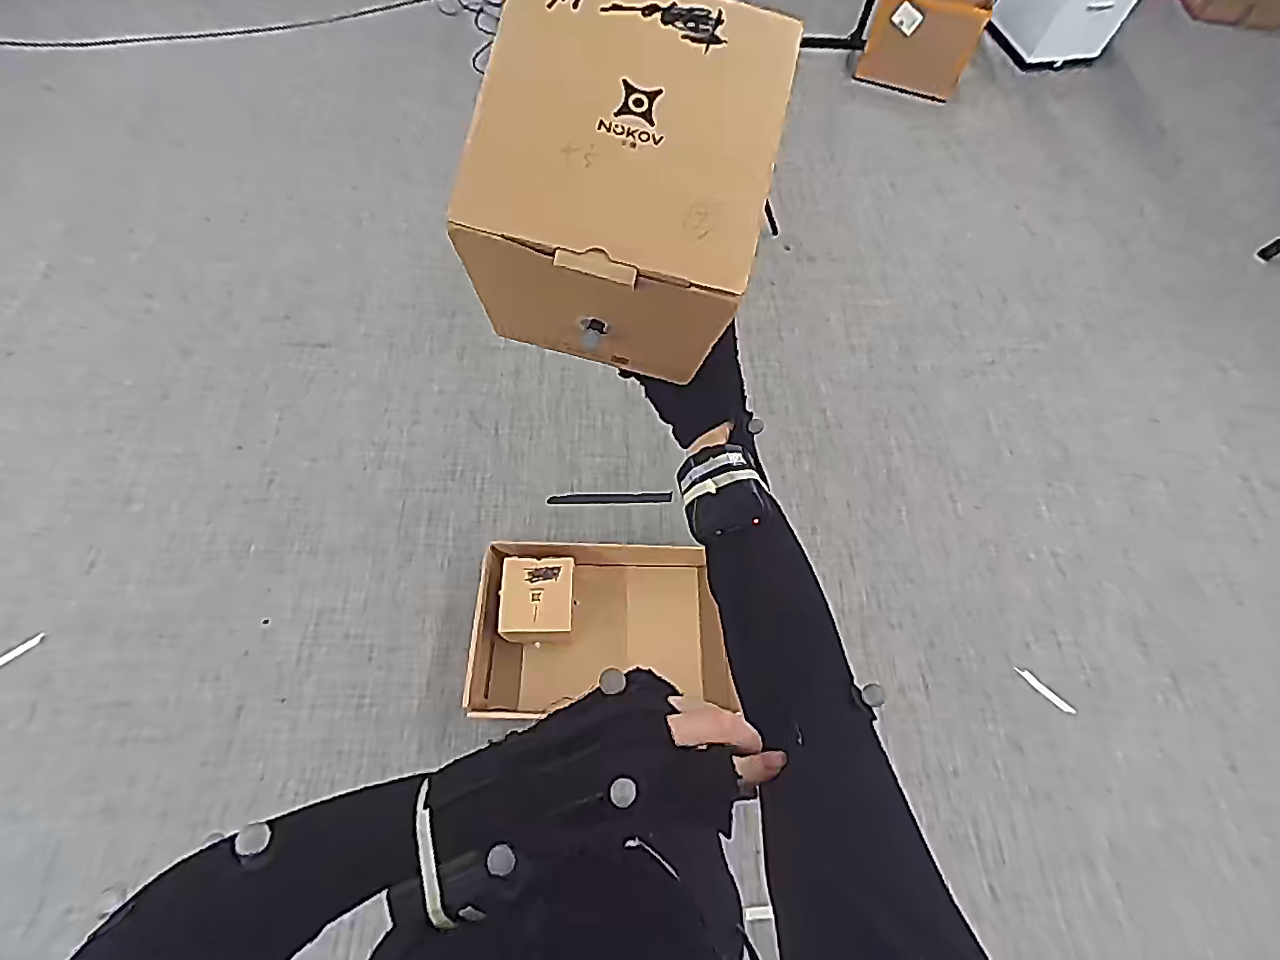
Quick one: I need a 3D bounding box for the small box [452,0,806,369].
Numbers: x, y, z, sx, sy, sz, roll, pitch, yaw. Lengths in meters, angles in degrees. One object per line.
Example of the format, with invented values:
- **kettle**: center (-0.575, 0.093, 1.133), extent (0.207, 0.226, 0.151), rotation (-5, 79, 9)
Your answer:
- **small box**: center (-0.009, -0.194, 0.376), extent (0.168, 0.176, 0.179), rotation (14, 84, -4)
